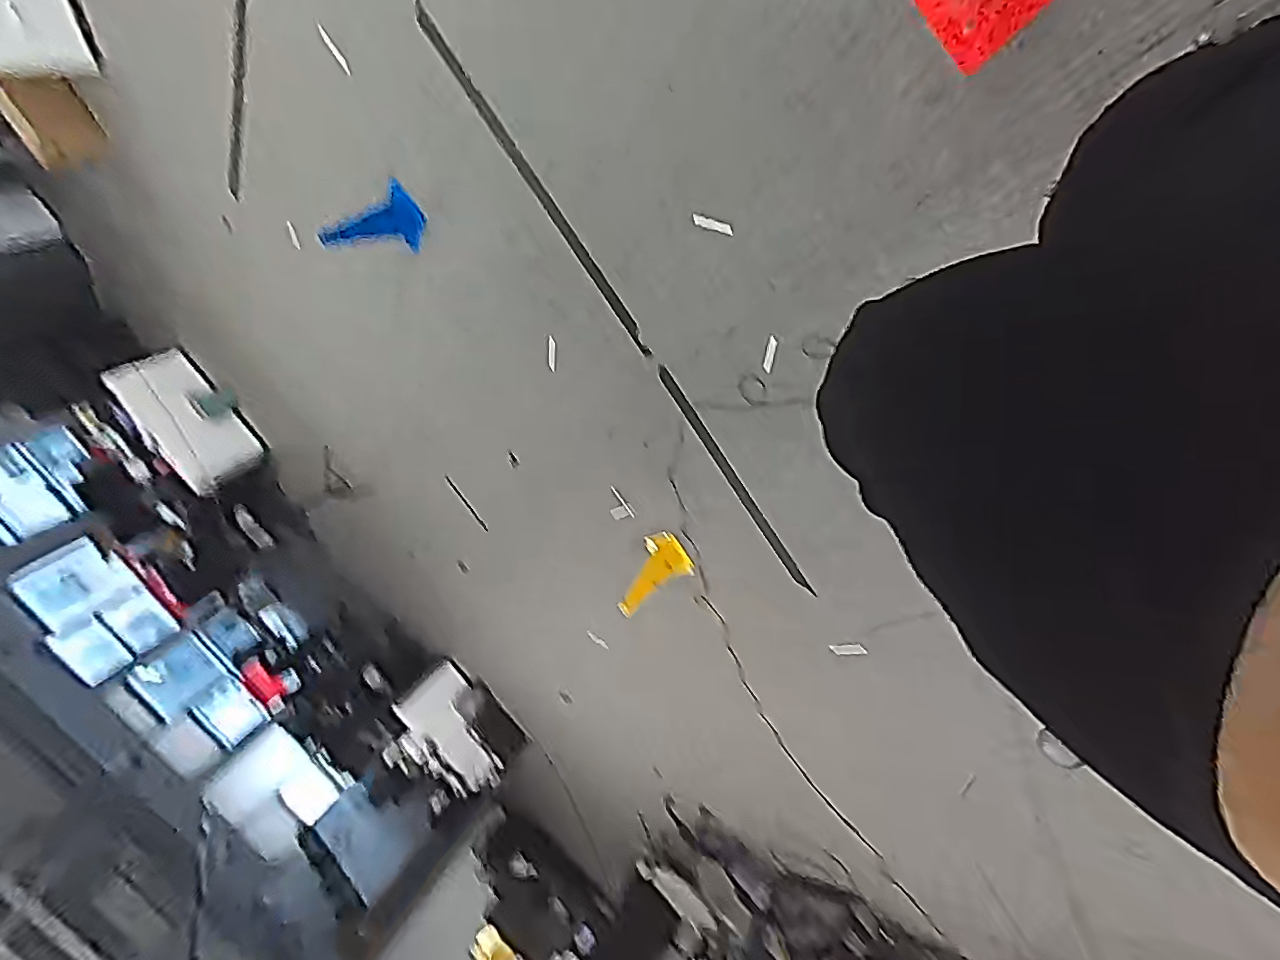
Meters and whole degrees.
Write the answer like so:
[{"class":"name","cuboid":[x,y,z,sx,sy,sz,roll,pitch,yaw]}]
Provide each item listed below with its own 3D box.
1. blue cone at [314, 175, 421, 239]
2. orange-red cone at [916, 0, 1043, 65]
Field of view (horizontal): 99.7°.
[{"class":"blue cone","cuboid":[-1.034,-0.982,2.020,0.193,0.380,0.192,51,140,-6]},{"class":"orange-red cone","cuboid":[0.513,-0.796,0.834,0.199,0.360,0.198,53,139,-6]}]
